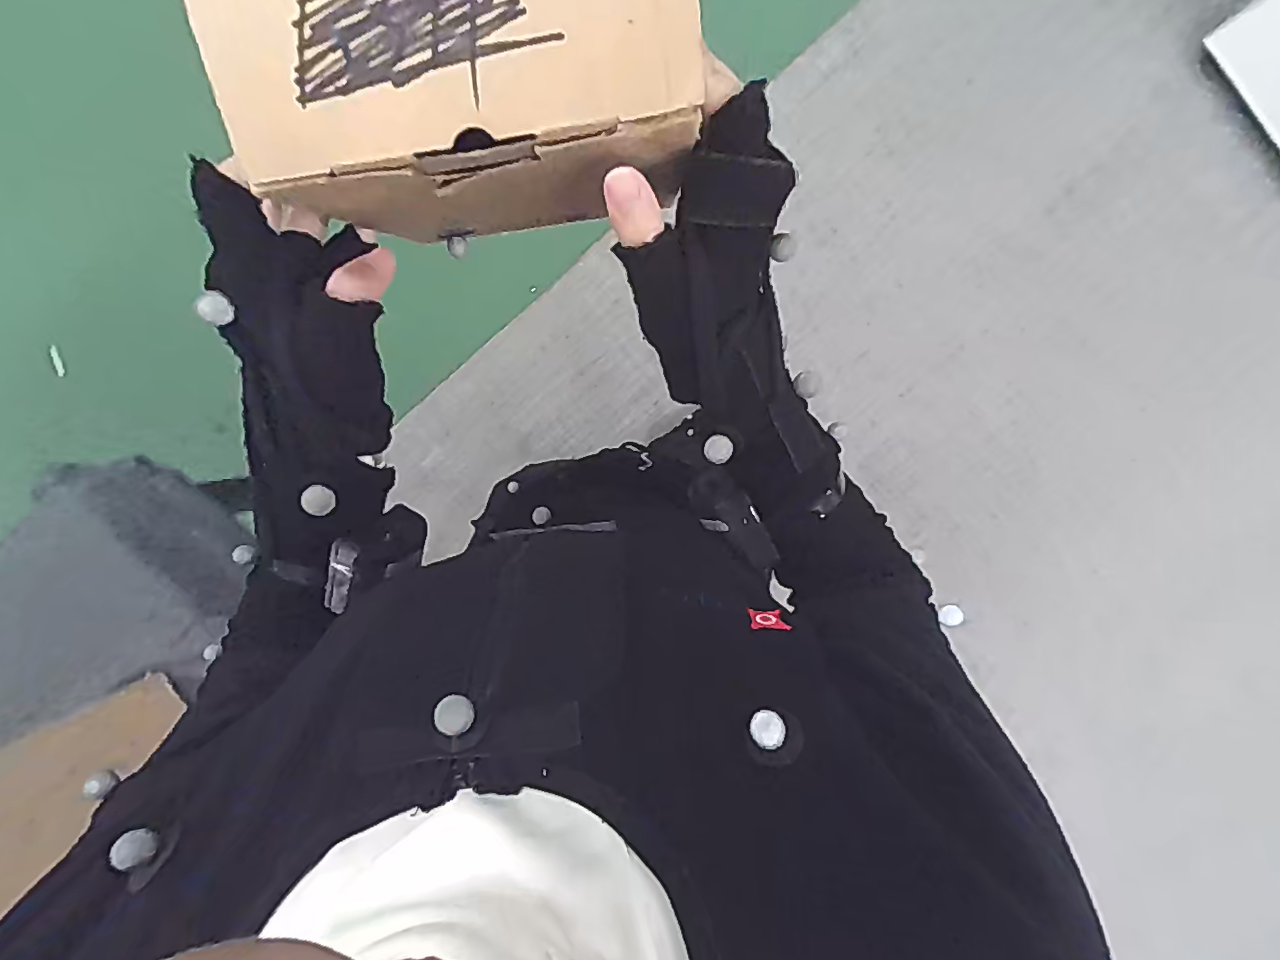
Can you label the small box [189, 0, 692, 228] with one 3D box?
[{"bbox_3d":[-0.070,-0.221,0.241,0.168,0.176,0.179,-8,107,3],"label":"small box"}]
